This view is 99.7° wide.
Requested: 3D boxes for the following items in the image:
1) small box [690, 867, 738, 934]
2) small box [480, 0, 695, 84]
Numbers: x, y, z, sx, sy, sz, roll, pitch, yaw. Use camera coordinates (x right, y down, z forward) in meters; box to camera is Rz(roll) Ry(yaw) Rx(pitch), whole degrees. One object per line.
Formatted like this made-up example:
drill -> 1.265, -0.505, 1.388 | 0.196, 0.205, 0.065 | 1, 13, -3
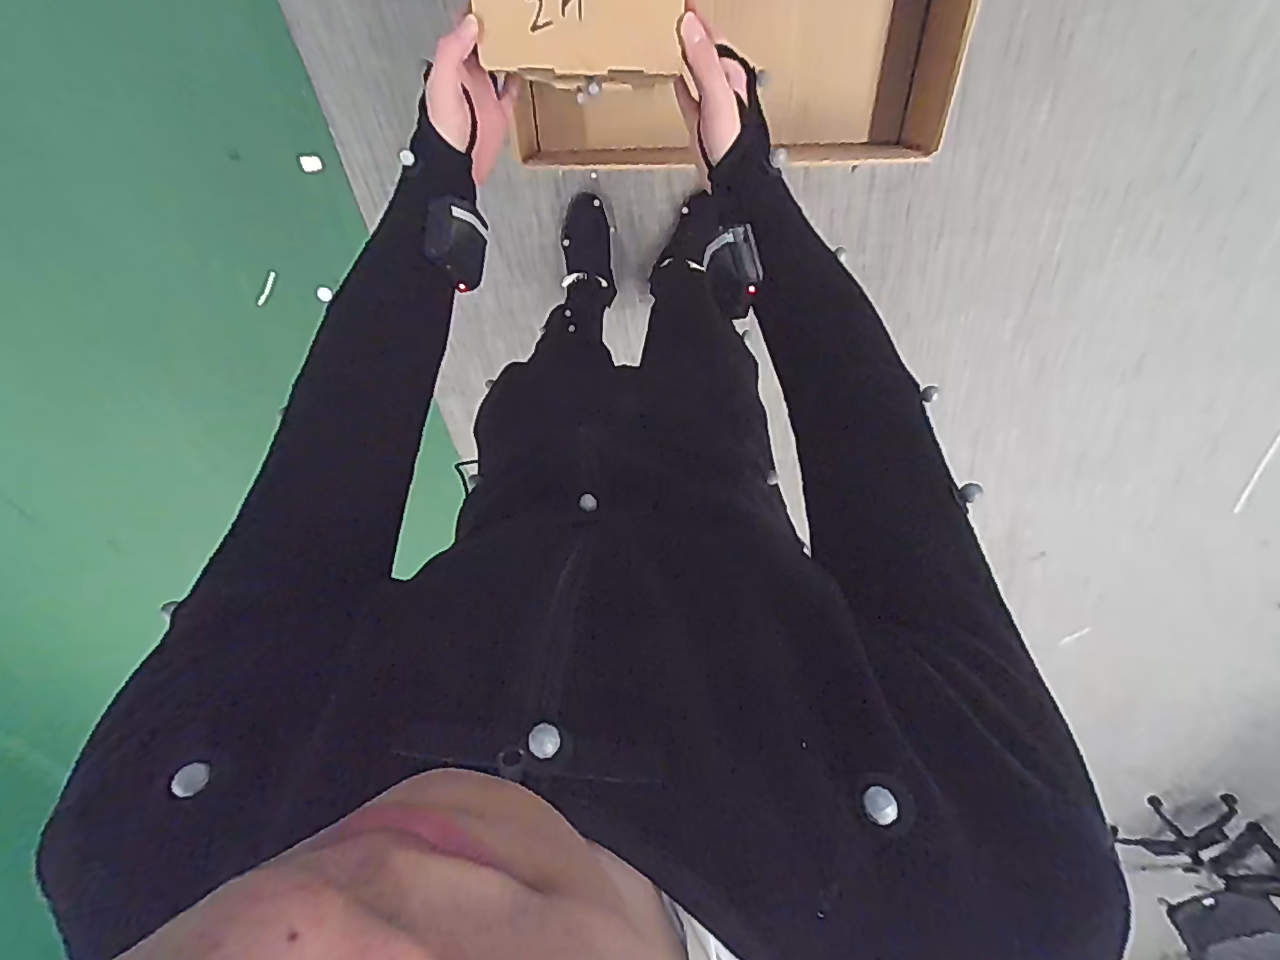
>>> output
small box -> 0.282, 1.608, 2.068 | 0.168, 0.176, 0.179 | -4, 127, 4
small box -> -0.037, -0.441, 0.449 | 0.168, 0.176, 0.179 | 2, 128, 0
